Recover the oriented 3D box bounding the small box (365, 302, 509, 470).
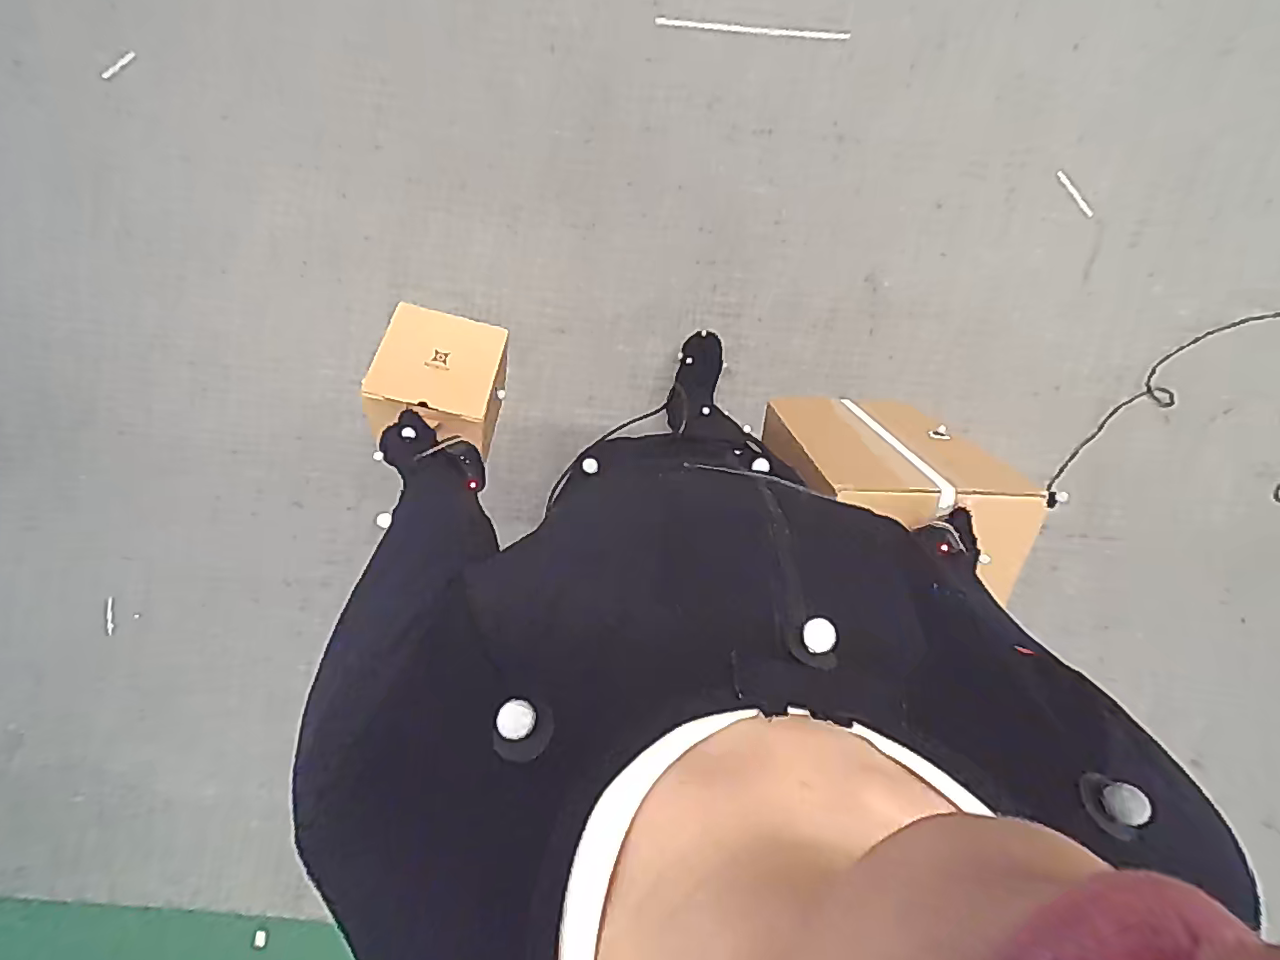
[{"bbox_3d":[-0.313,-0.142,0.859,0.168,0.176,0.179,12,60,-11],"label":"small box"}]
